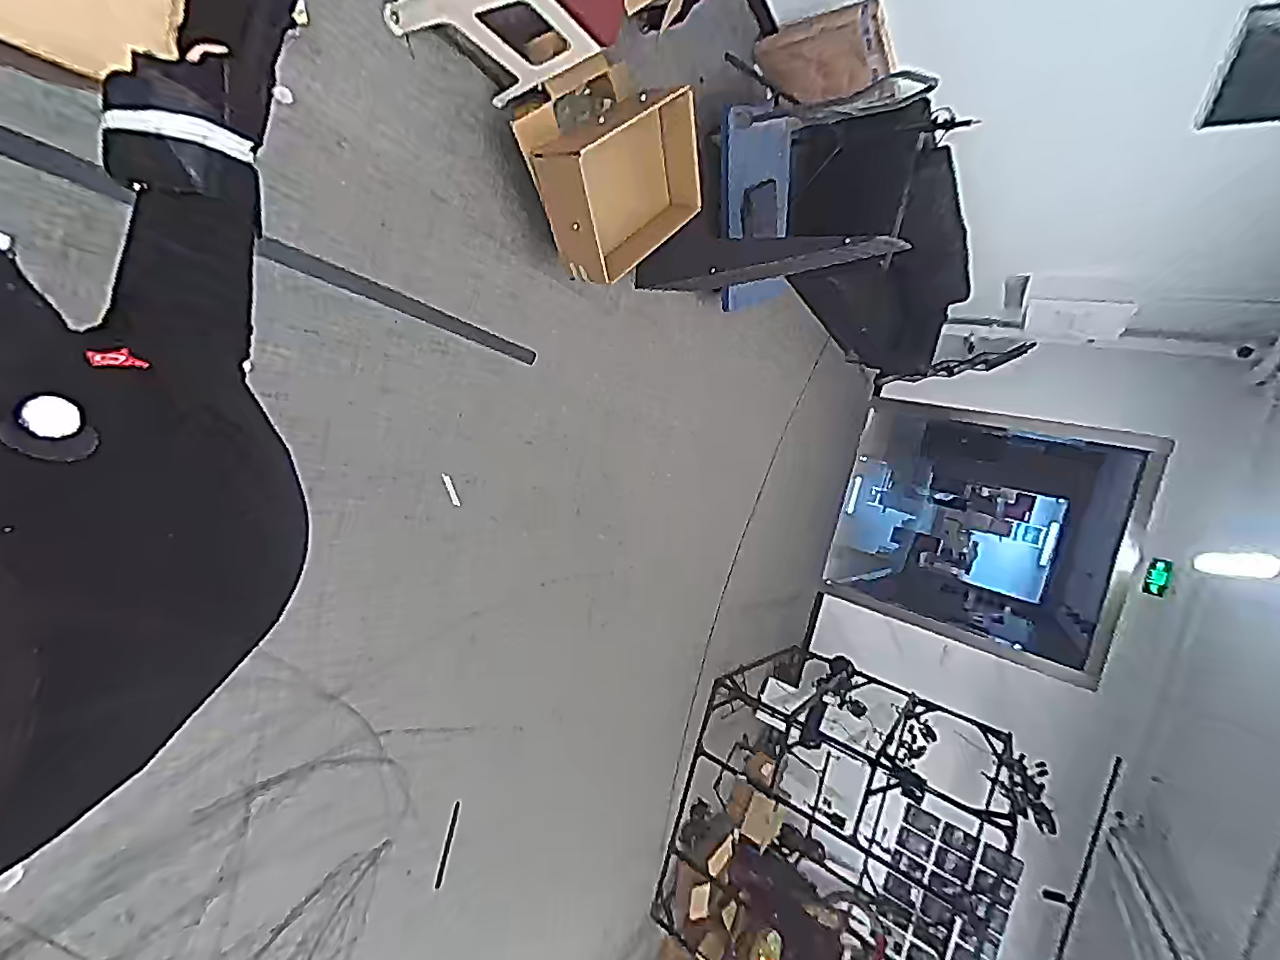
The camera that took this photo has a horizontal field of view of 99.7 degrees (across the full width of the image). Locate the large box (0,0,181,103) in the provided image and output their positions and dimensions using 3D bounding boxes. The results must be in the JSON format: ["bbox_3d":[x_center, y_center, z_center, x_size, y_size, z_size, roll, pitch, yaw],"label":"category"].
[{"bbox_3d":[-0.502,-0.449,0.242,0.408,0.320,0.320,-4,118,-59],"label":"large box"}]
